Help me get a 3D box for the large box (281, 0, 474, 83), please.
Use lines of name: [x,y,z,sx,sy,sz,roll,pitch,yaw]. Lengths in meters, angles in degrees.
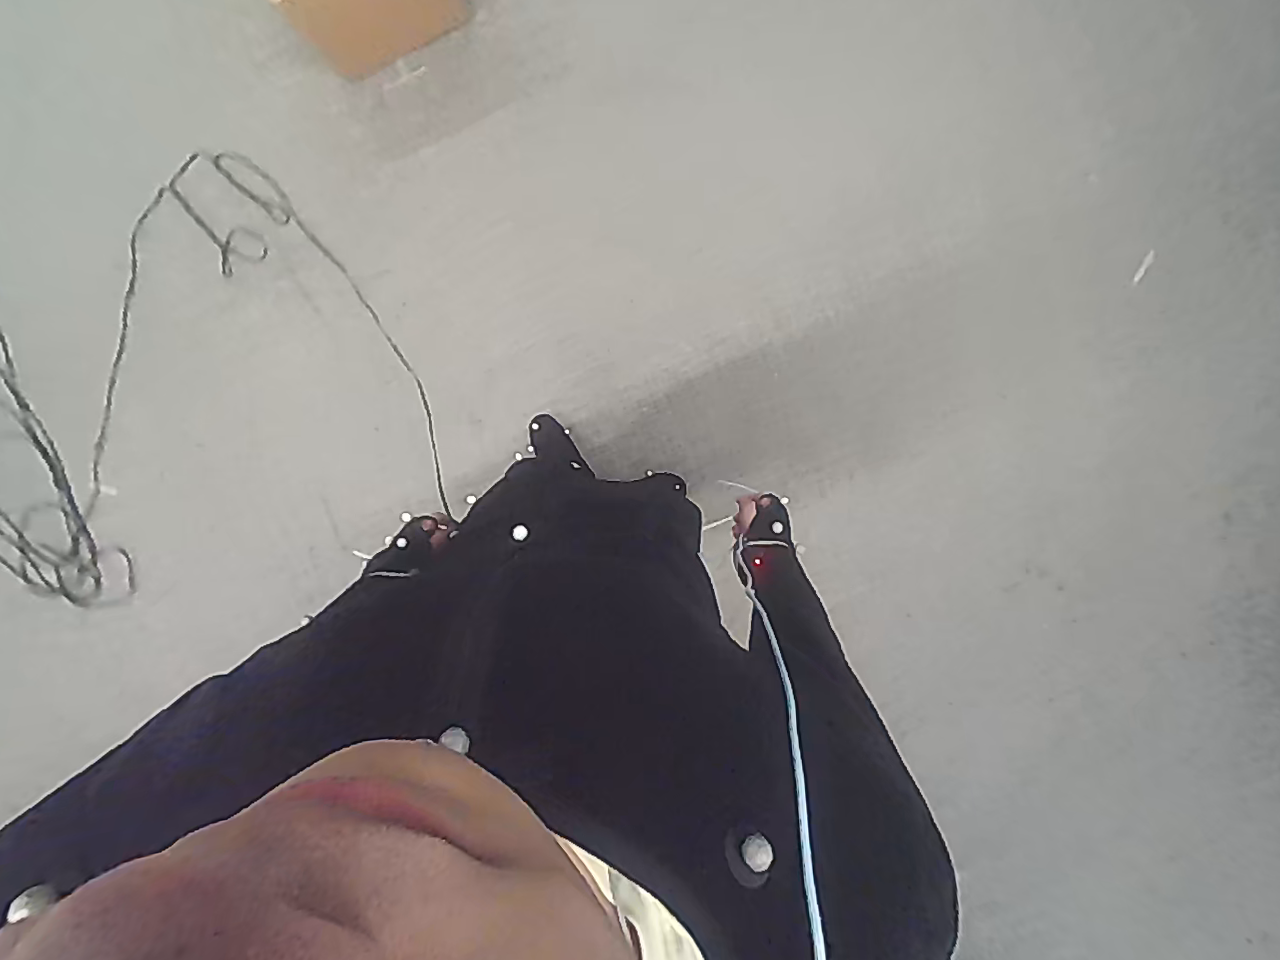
large box: [-0.704,-1.326,1.363,0.408,0.320,0.320,-24,96,4]
